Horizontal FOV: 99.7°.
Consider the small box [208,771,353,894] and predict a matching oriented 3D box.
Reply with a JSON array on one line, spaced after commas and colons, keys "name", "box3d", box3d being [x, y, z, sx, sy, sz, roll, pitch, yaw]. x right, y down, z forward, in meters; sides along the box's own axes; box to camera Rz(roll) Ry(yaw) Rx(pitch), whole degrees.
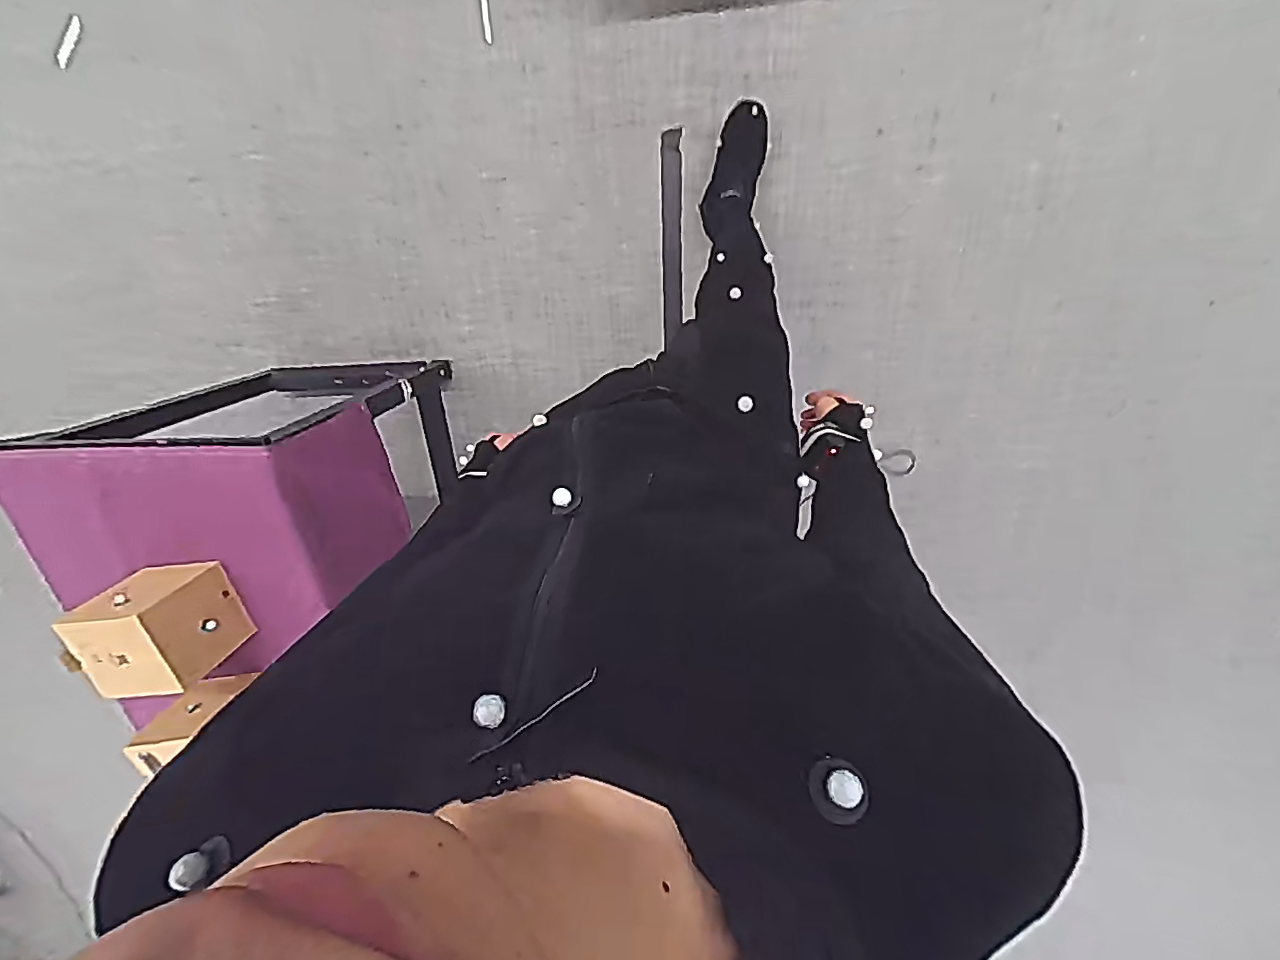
[{"name": "small box", "box3d": [-0.797, 0.789, 1.218, 0.179, 0.176, 0.168, -13, 112, 12]}]

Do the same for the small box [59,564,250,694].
[{"name": "small box", "box3d": [-0.865, 0.267, 0.991, 0.179, 0.176, 0.168, -6, 113, 10]}]
